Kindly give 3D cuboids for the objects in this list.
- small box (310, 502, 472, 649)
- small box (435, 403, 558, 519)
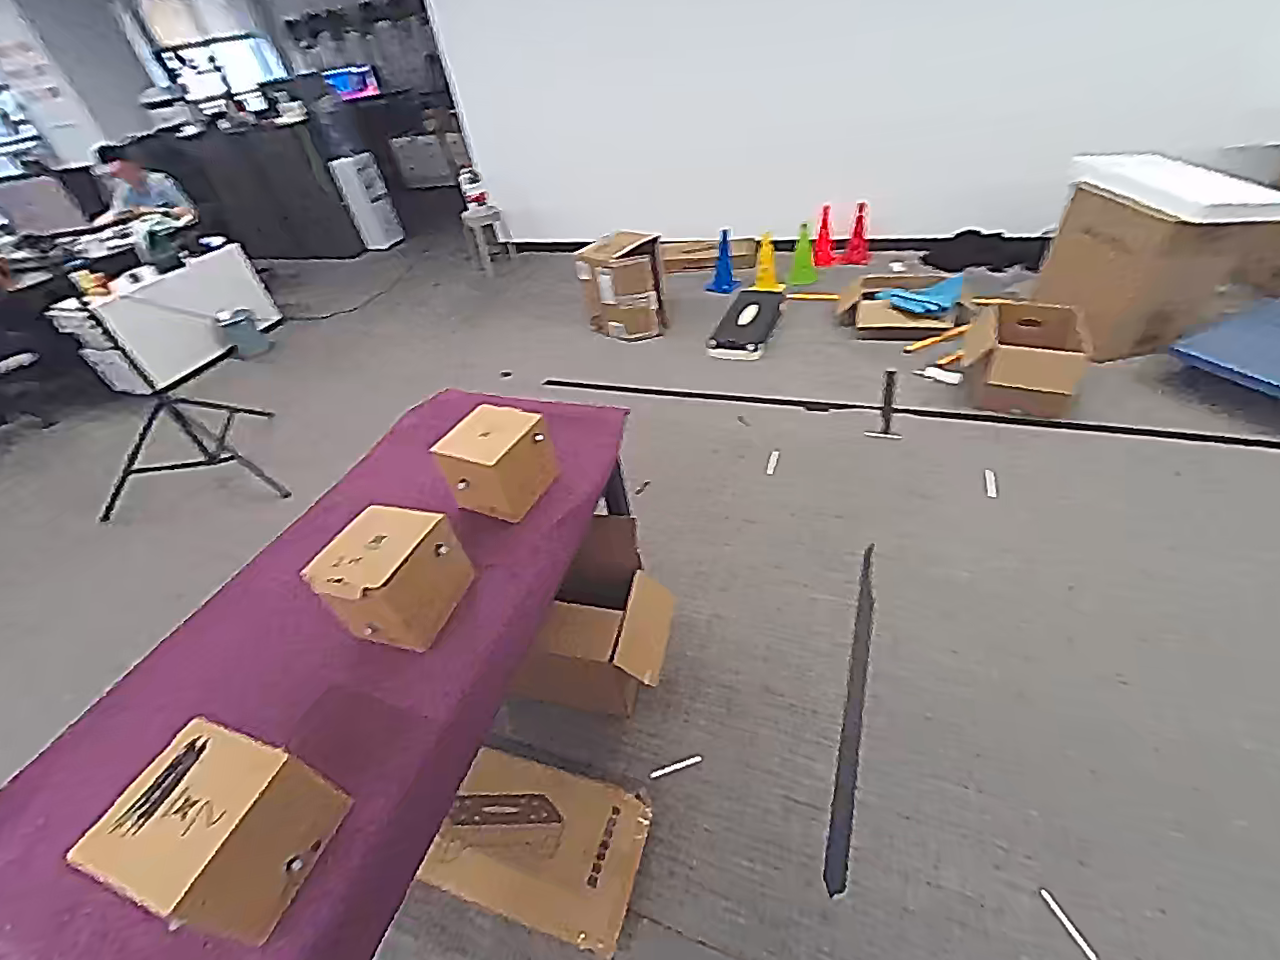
[{"bbox_3d":[-0.421,0.166,0.954,0.168,0.176,0.179,5,43,20],"label":"small box"},{"bbox_3d":[-0.297,-0.040,1.163,0.168,0.176,0.179,13,46,24],"label":"small box"}]
